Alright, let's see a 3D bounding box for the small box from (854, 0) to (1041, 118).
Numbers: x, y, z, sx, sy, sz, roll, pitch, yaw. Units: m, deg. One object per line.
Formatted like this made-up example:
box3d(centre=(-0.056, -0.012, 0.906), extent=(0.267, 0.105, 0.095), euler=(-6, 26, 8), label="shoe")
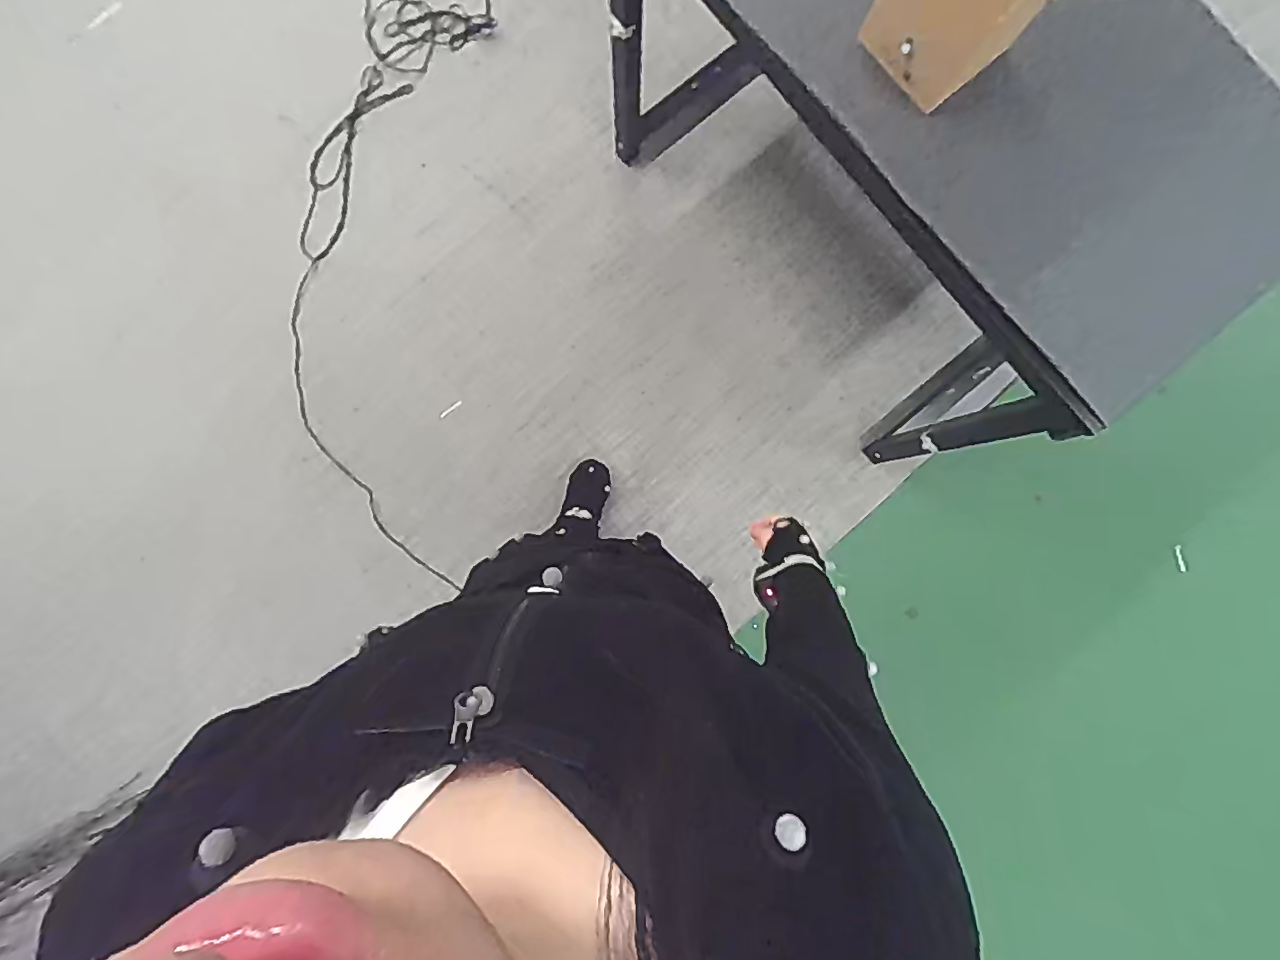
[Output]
box3d(centre=(0.446, -0.678, 0.769), extent=(0.179, 0.176, 0.168), euler=(-41, 88, -4), label="small box")
